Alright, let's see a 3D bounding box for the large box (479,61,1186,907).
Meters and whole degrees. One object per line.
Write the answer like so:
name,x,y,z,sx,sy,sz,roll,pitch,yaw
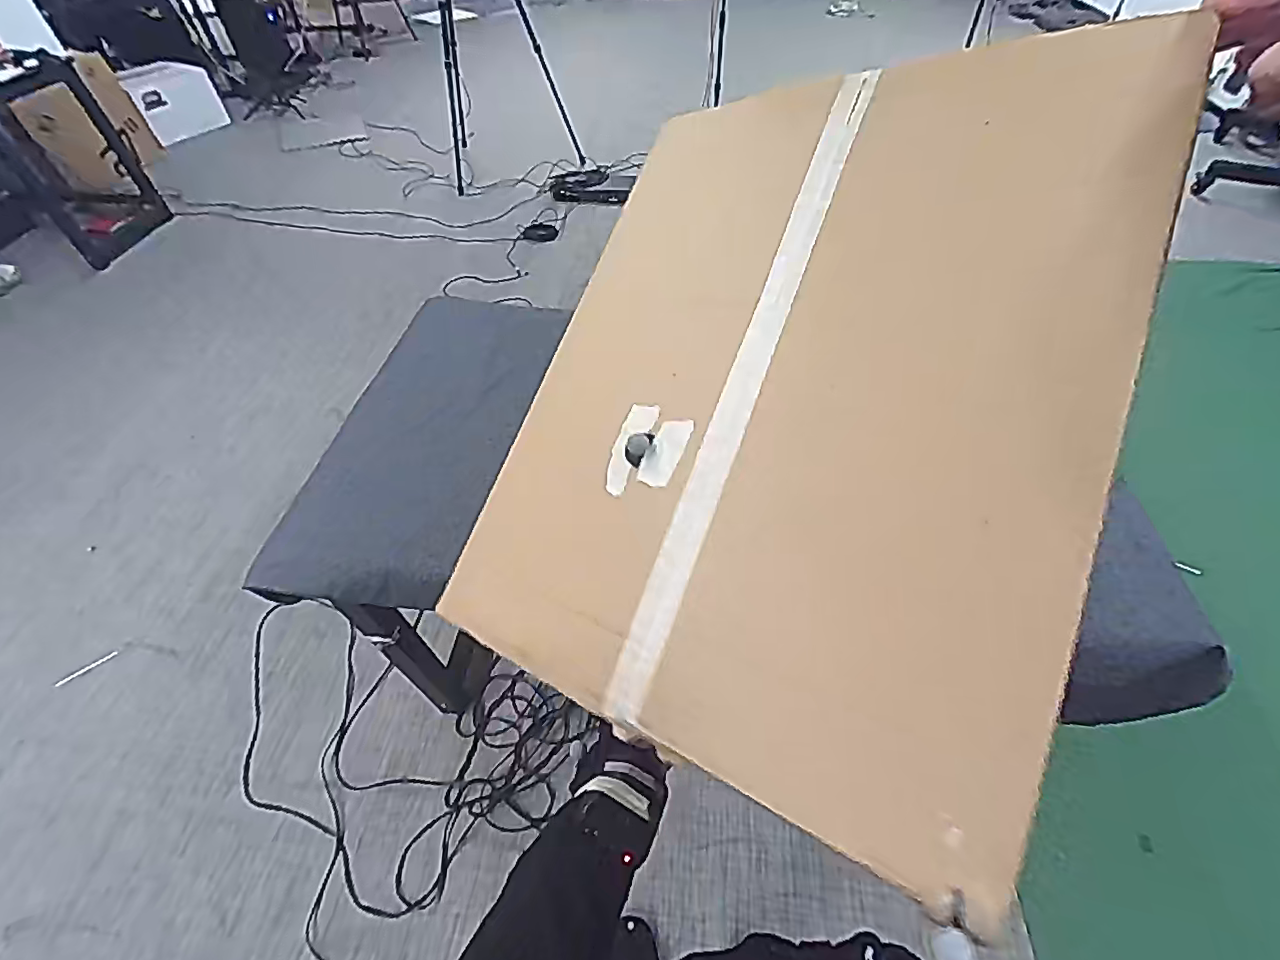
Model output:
large box,0.149,-0.008,0.434,0.320,0.320,0.408,13,78,34
